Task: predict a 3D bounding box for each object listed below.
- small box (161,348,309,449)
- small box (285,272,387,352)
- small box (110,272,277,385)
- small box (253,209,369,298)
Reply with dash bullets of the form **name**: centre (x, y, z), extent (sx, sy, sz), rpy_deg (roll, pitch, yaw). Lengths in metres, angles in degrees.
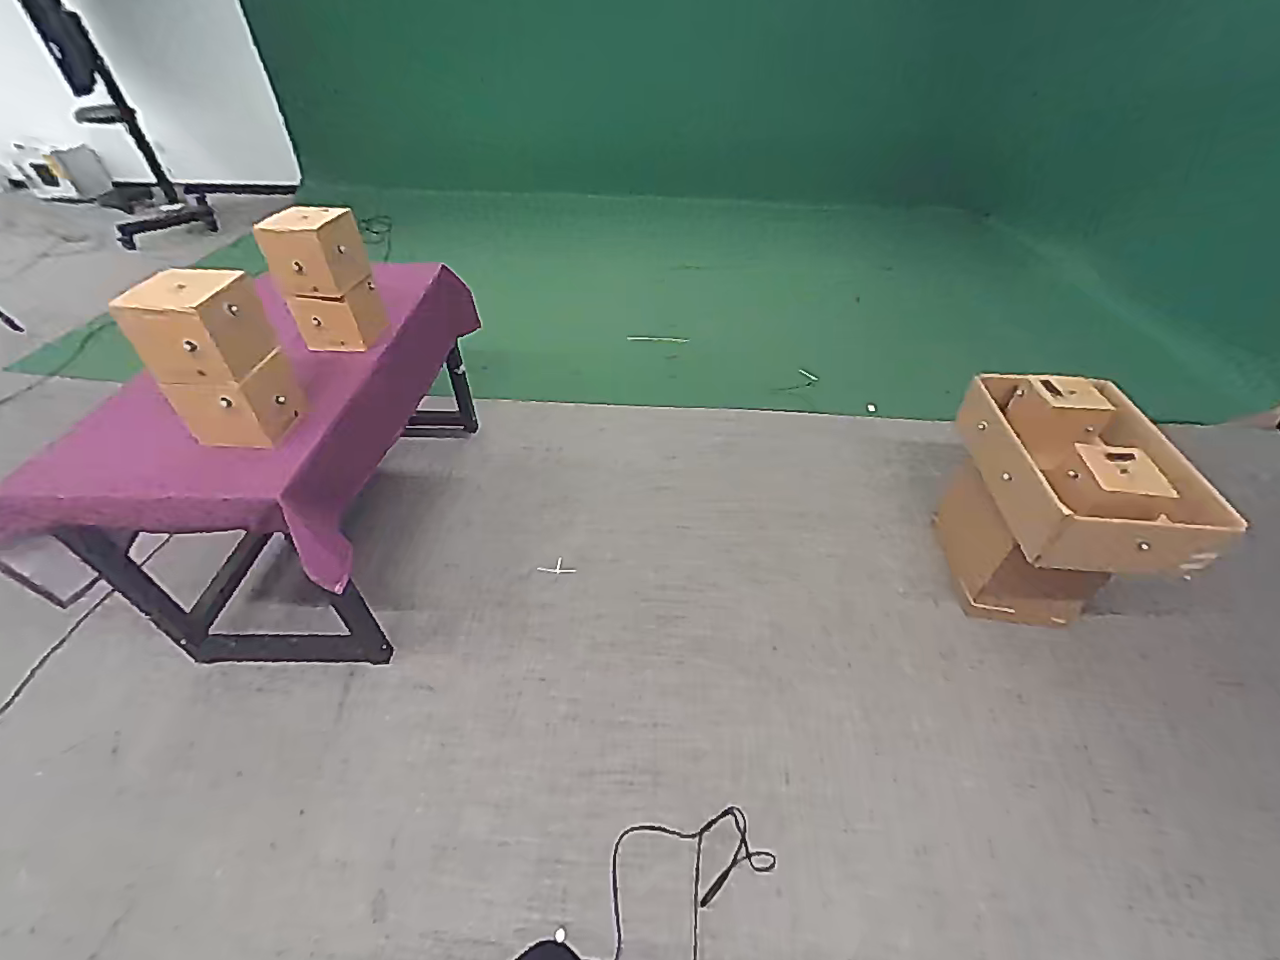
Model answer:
- **small box**: centre (-0.889, -0.184, 1.211), extent (0.179, 0.176, 0.168), rpy_deg (2, 42, 3)
- **small box**: centre (-0.842, -0.473, 1.523), extent (0.168, 0.176, 0.179), rpy_deg (1, 43, 2)
- **small box**: centre (-0.890, -0.307, 1.104), extent (0.168, 0.176, 0.179), rpy_deg (2, 43, 1)
- **small box**: centre (-0.840, -0.588, 1.406), extent (0.168, 0.176, 0.179), rpy_deg (5, 44, 5)
